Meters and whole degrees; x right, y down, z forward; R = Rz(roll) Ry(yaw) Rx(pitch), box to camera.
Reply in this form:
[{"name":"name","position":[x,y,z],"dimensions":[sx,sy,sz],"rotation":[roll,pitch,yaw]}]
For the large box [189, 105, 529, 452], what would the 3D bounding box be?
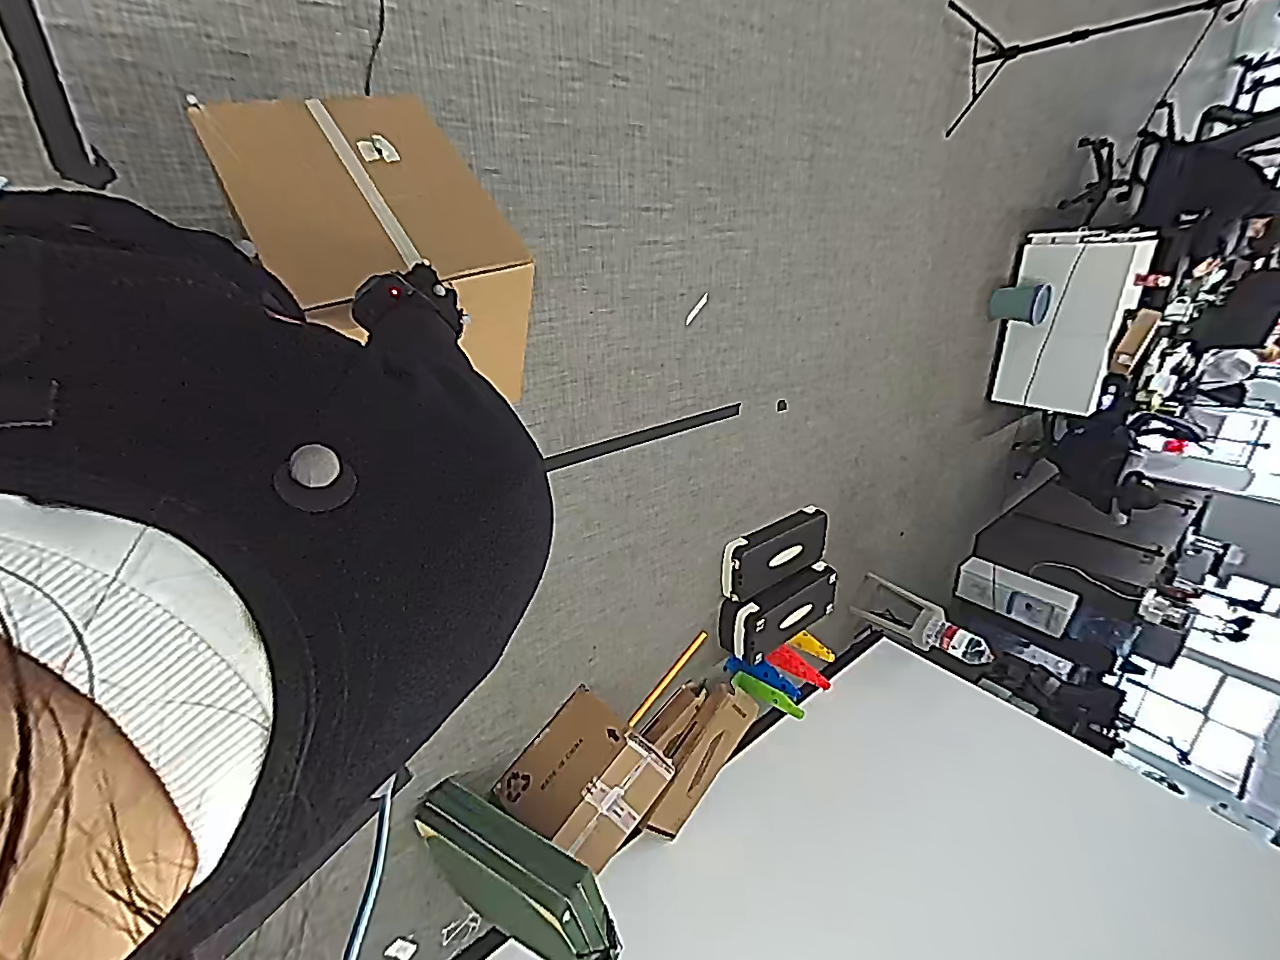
[{"name":"large box","position":[-0.421,-0.323,0.874],"dimensions":[0.320,0.408,0.320],"rotation":[-26,160,-29]}]
